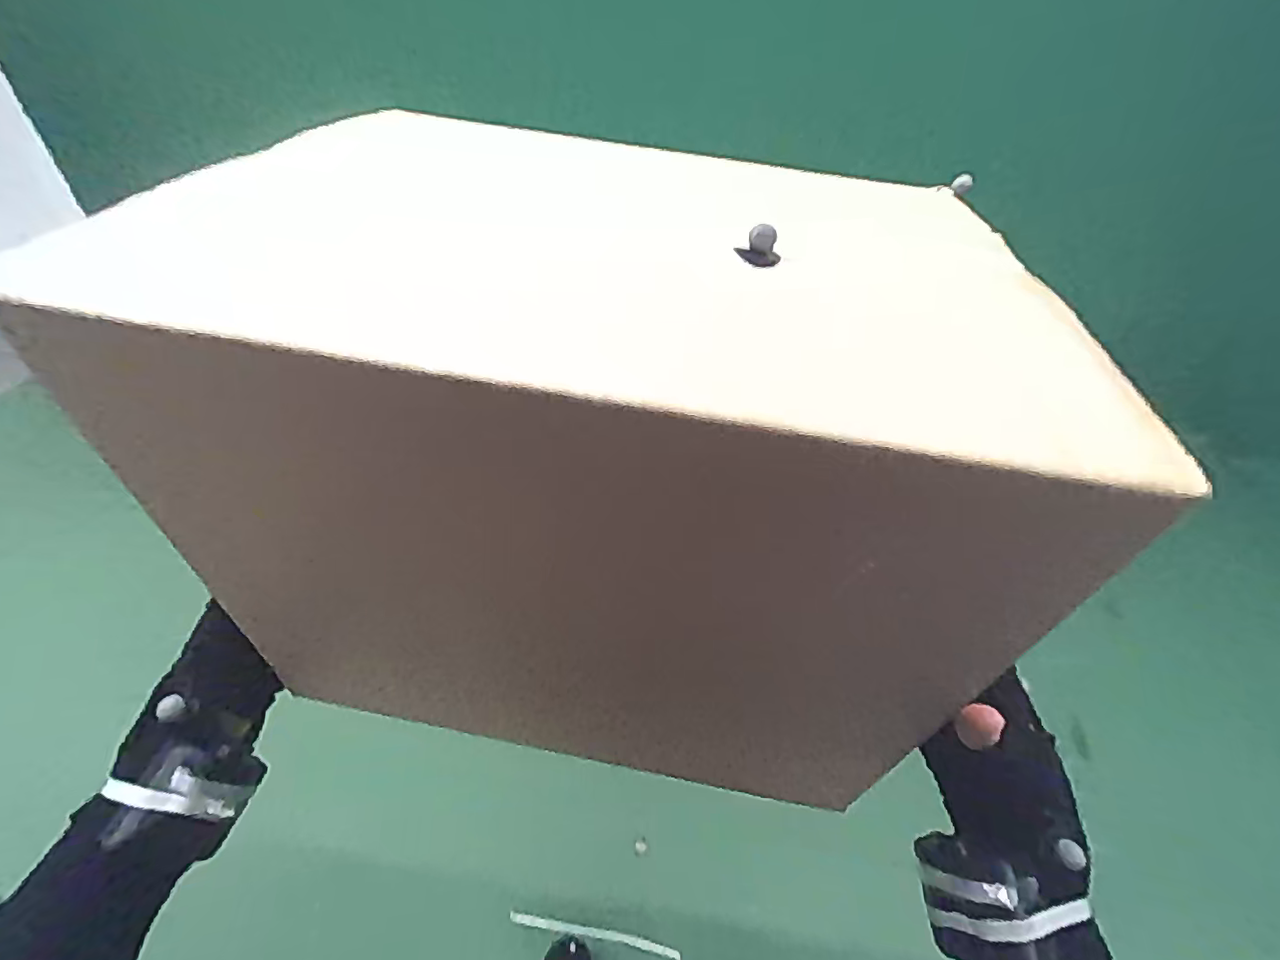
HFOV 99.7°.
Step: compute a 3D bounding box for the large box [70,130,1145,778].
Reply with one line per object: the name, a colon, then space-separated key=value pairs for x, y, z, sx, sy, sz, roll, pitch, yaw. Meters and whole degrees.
large box: x=-0.013 y=-0.025 z=0.402 sx=0.408 sy=0.320 sz=0.320 roll=11 pitch=45 yaw=3
